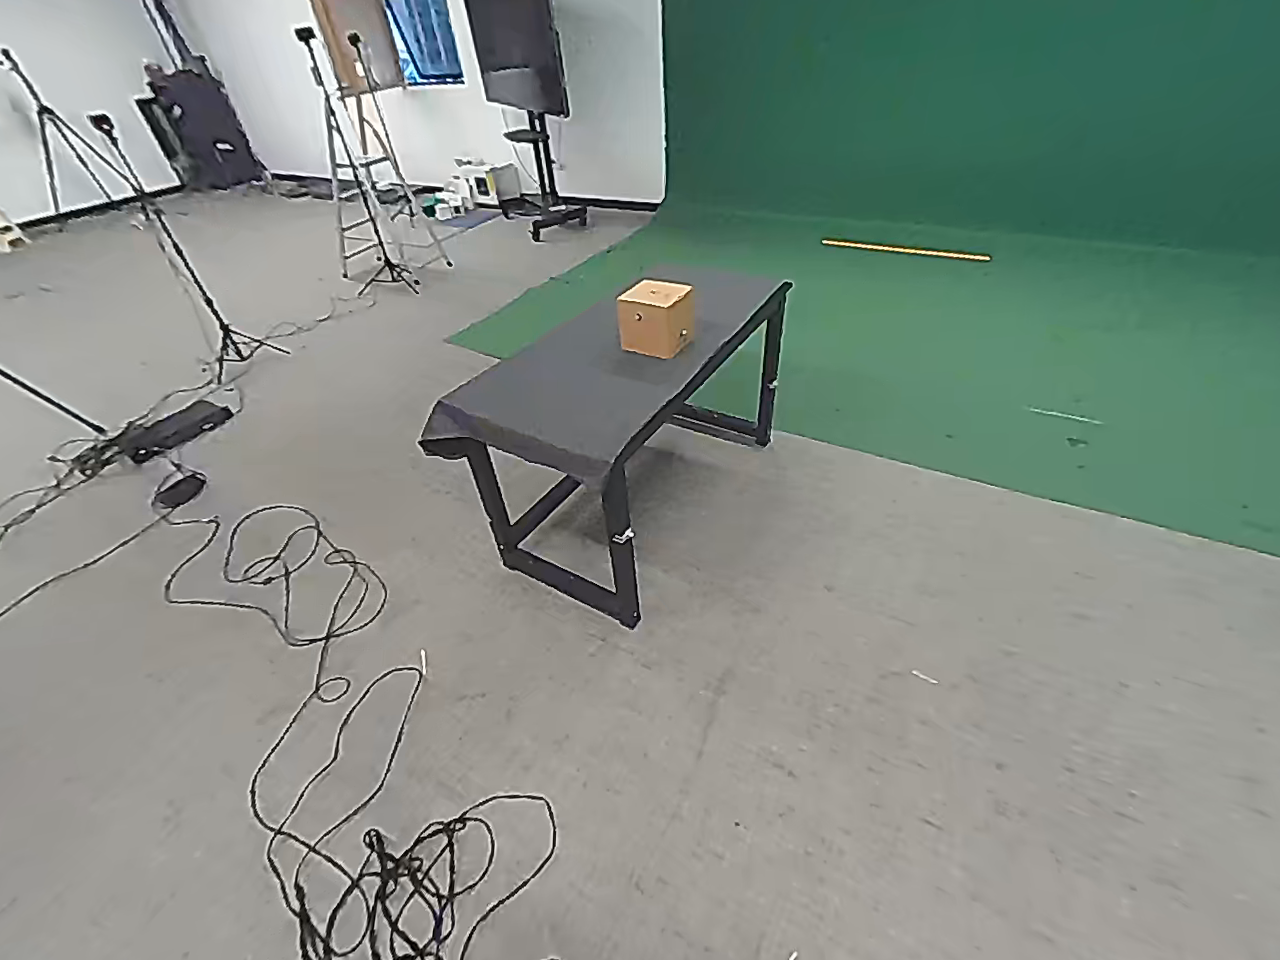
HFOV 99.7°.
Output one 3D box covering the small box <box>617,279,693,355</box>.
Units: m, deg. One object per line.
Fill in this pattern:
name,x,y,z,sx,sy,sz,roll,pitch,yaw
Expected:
small box,0.051,-0.502,1.665,0.179,0.176,0.168,18,46,26
